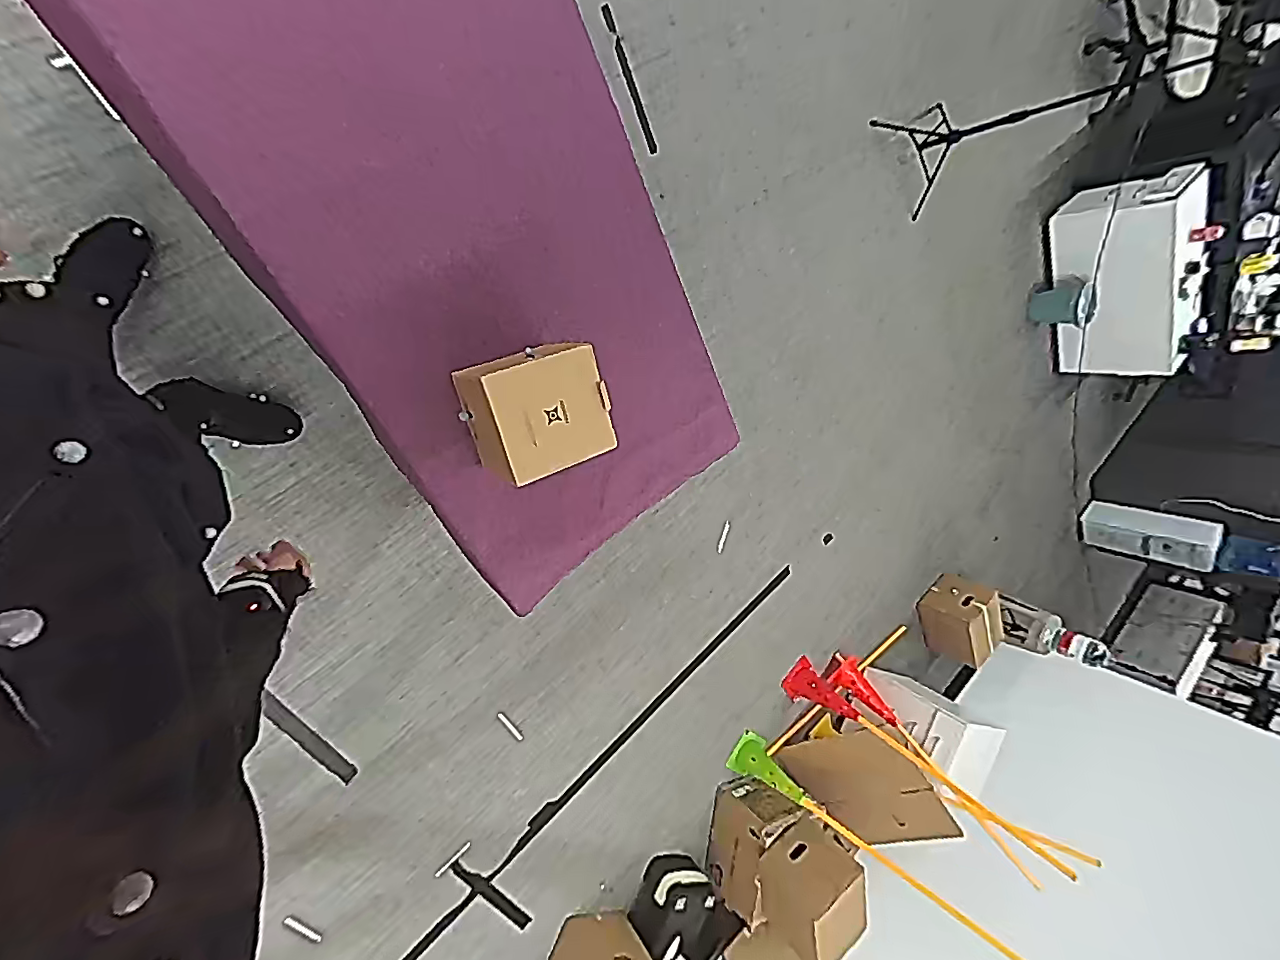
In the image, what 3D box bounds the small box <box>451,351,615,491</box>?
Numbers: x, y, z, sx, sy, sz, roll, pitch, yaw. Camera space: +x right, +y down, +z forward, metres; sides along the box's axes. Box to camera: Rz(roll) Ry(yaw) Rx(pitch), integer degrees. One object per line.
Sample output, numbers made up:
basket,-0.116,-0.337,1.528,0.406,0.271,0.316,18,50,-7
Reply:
small box,-0.168,-0.103,0.846,0.179,0.176,0.168,-24,113,-27
